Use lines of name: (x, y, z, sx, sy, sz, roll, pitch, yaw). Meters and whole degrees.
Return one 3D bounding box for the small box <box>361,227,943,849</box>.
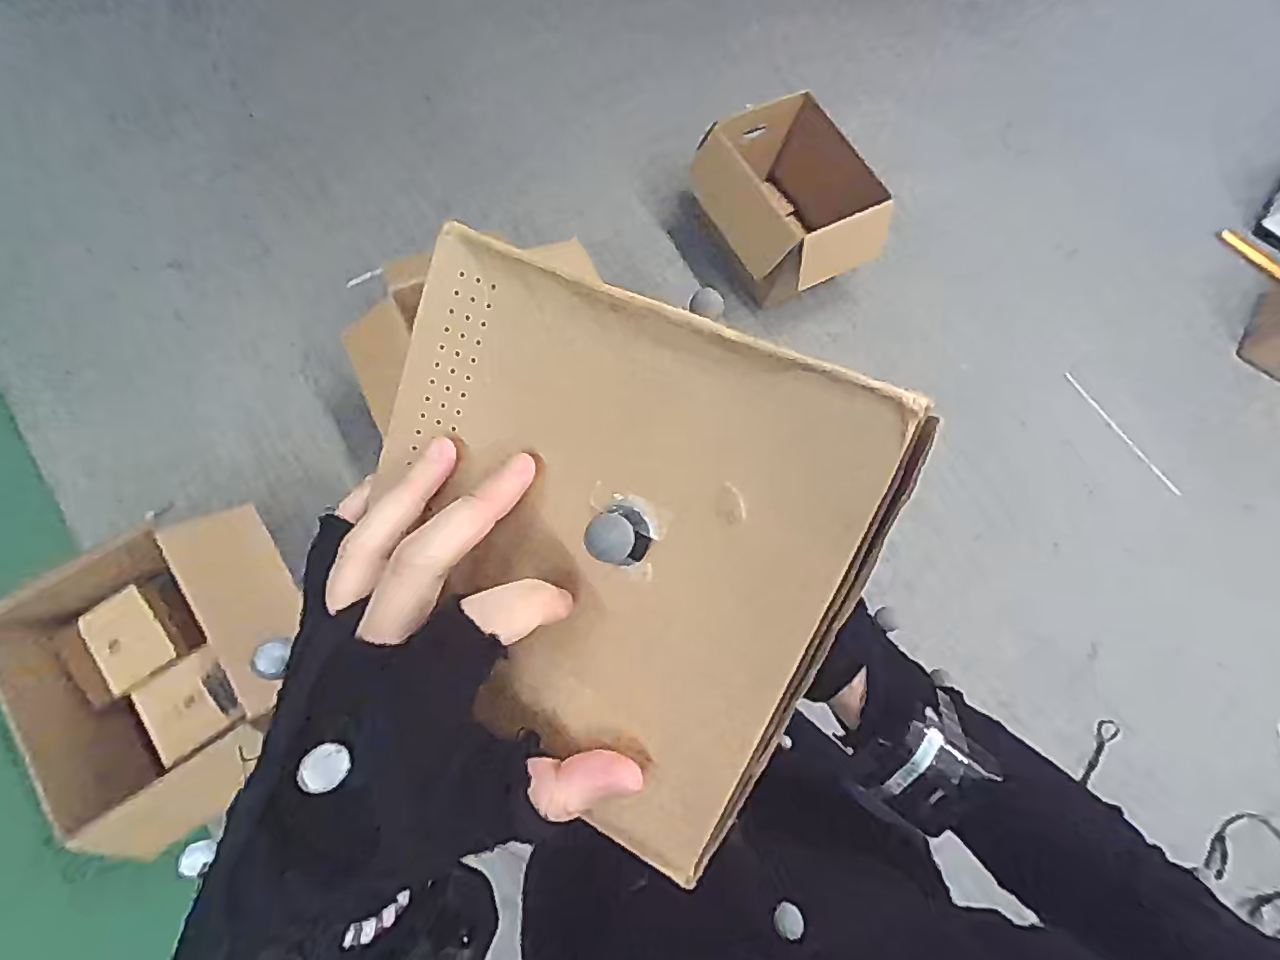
small box: (0.004, 0.008, 0.257, 0.176, 0.168, 0.179, 26, 104, 15)
